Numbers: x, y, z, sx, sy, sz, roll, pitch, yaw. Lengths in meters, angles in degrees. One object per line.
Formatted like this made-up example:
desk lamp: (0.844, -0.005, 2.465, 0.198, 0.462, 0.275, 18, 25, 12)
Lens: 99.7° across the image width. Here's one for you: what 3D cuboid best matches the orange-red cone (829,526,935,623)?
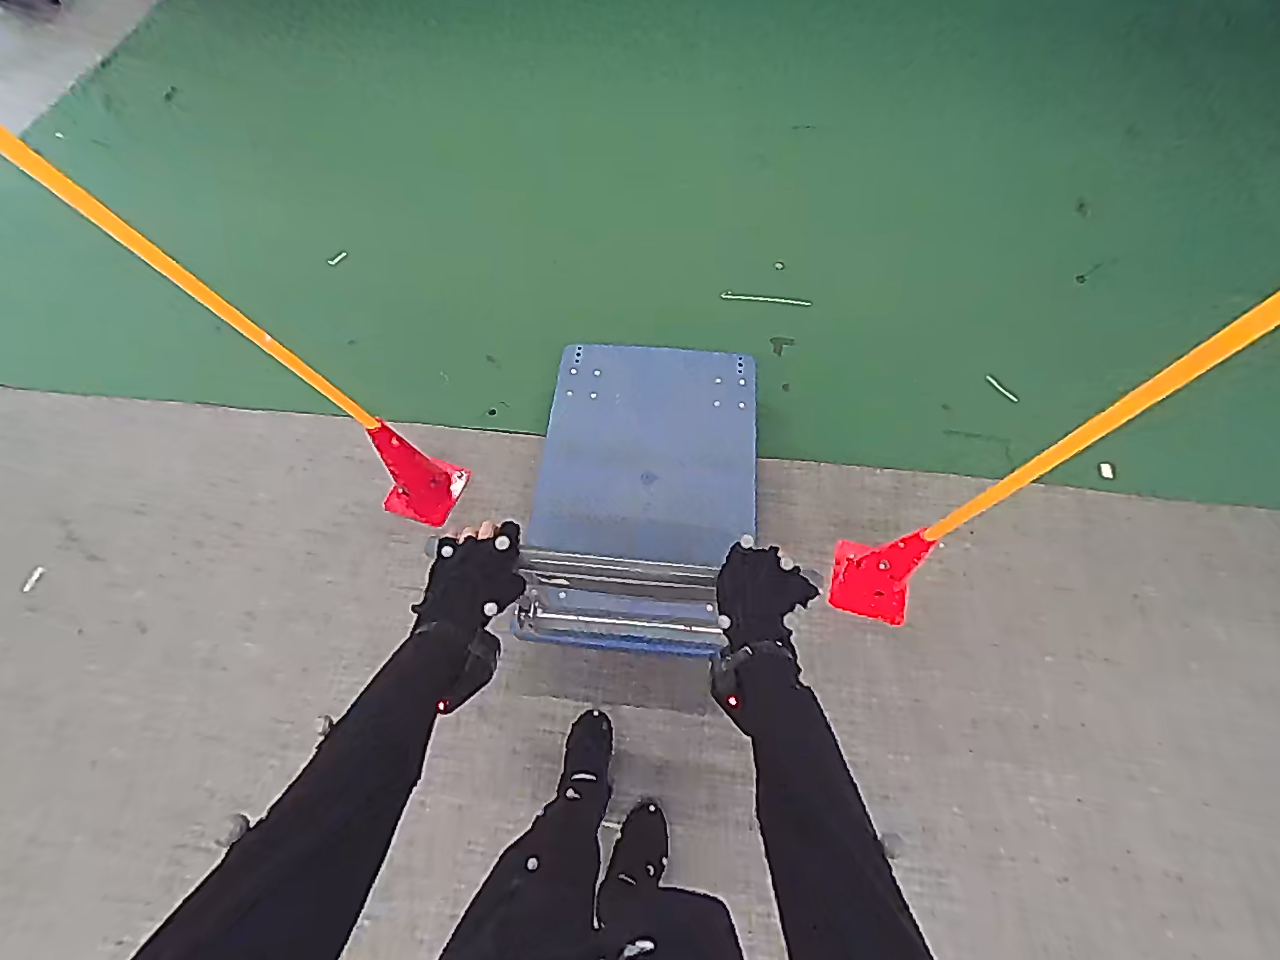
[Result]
orange-red cone: (0.621, 0.195, 1.315, 0.198, 0.360, 0.199, 16, 65, 9)
